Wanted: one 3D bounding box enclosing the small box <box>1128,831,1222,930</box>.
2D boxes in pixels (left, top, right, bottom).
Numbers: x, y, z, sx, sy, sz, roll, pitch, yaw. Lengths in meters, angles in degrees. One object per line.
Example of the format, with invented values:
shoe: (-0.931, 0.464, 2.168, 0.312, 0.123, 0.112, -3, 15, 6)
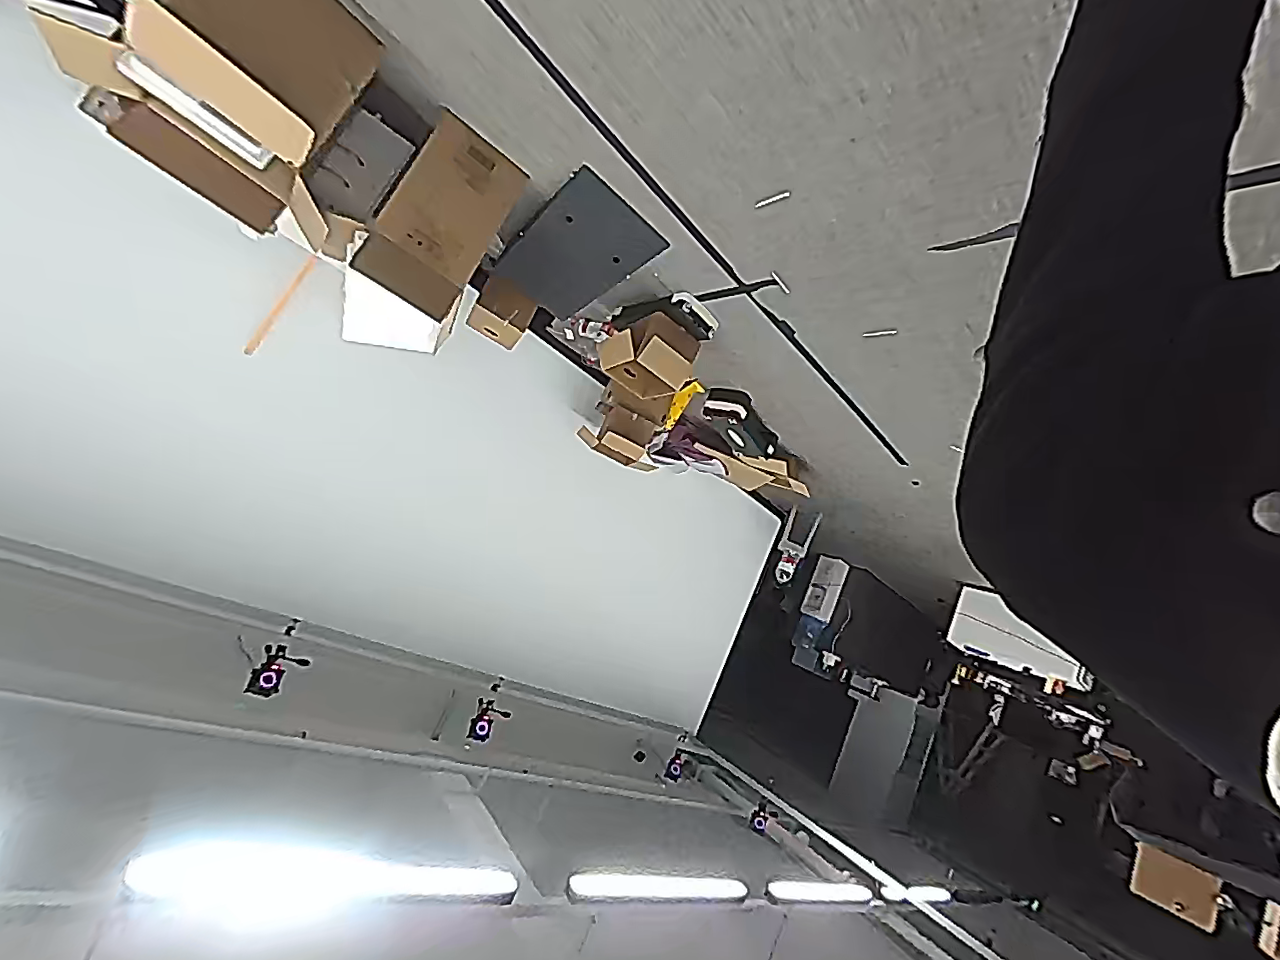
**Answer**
small box: (1.546, 1.144, 1.559, 0.179, 0.176, 0.168, 32, 166, -37)
